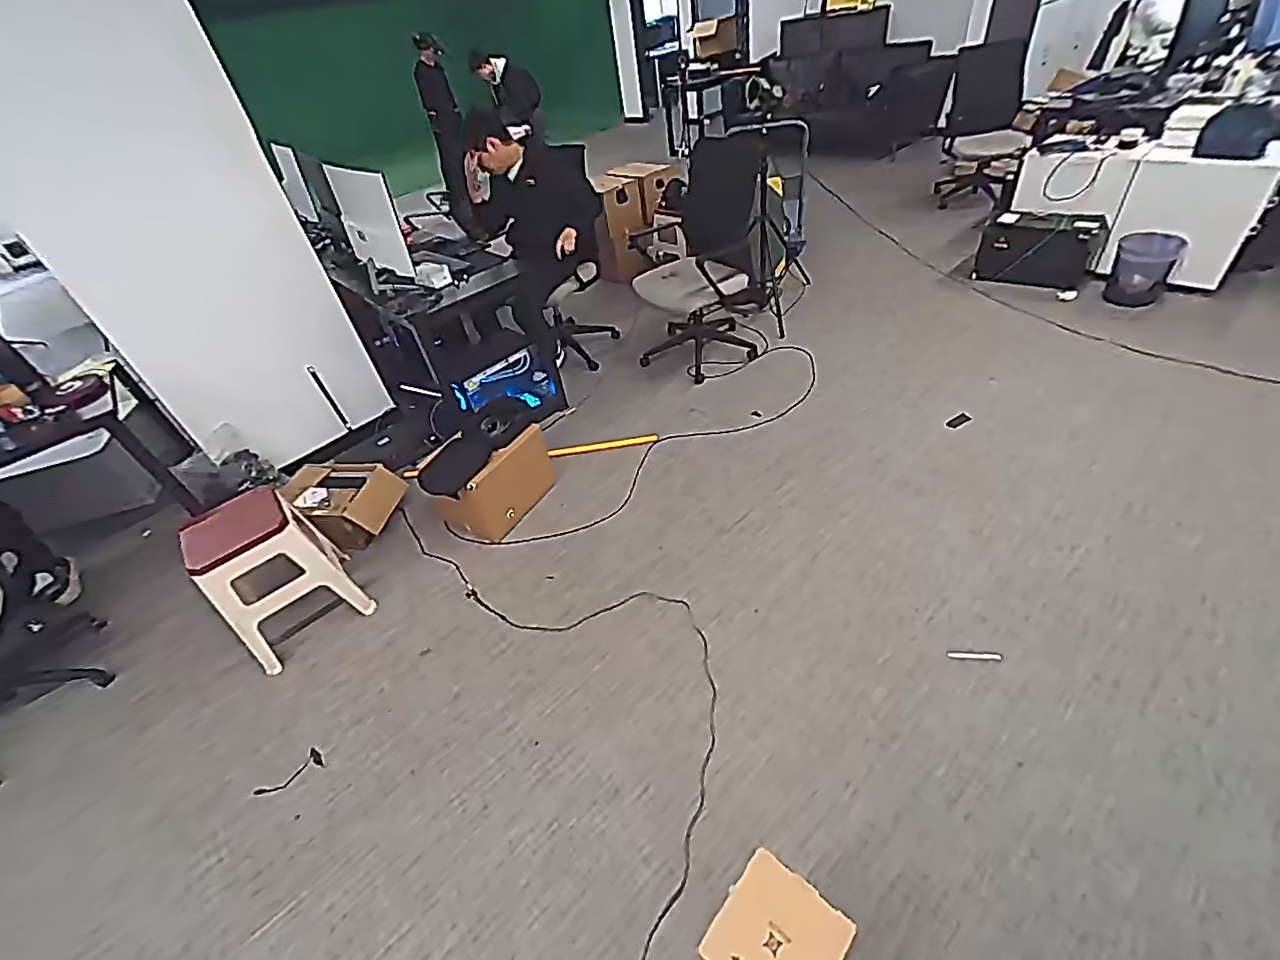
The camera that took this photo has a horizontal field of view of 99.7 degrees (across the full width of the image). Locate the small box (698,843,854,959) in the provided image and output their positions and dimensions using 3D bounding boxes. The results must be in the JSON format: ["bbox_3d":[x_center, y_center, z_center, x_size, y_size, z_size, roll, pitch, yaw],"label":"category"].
[{"bbox_3d":[0.207,0.725,0.843,0.168,0.176,0.179,25,51,35],"label":"small box"}]
